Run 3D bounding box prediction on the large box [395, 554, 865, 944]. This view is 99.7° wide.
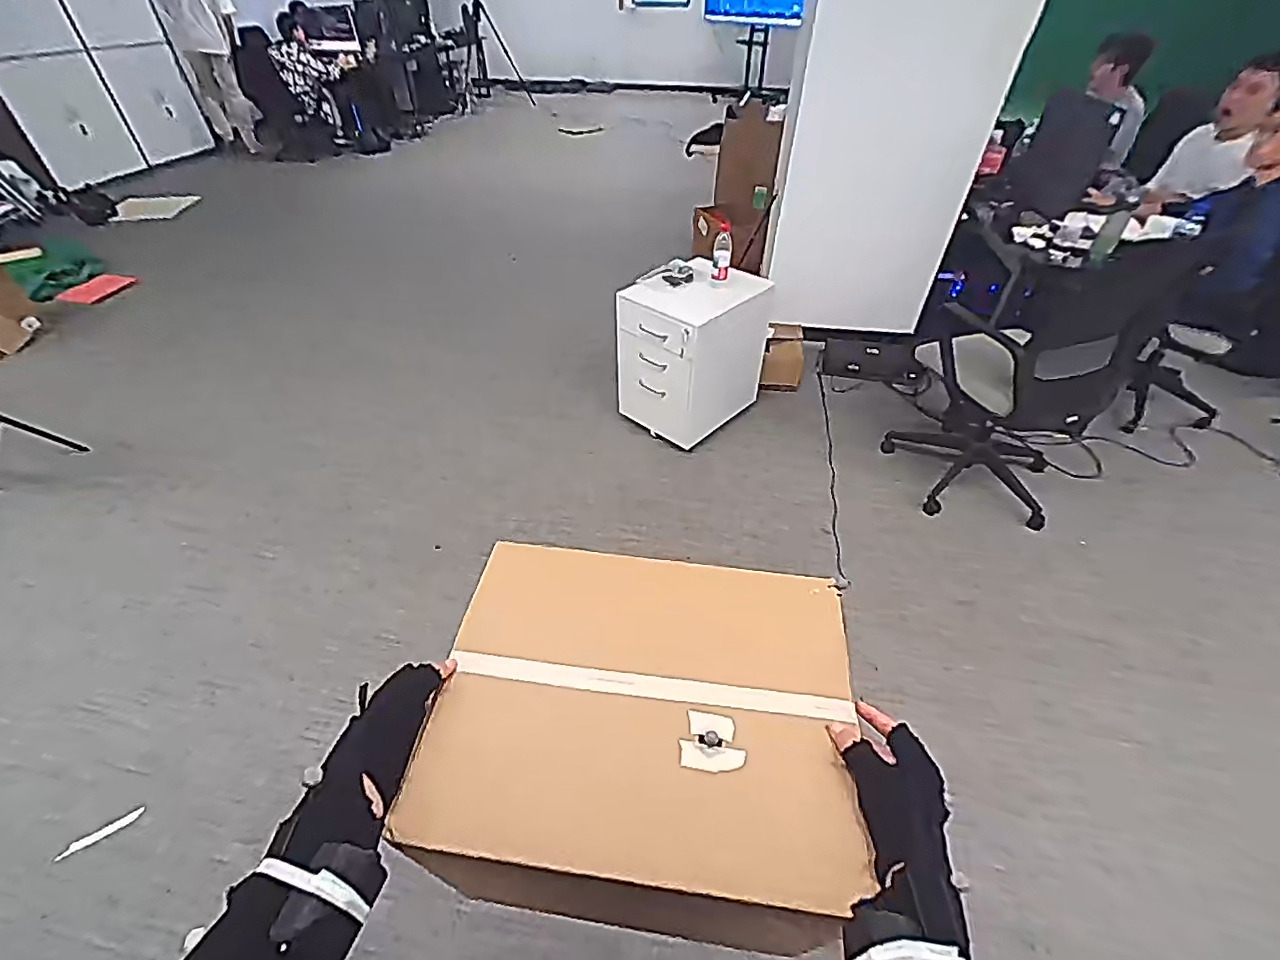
[{"bbox_3d":[-0.001,0.320,0.654,0.408,0.320,0.320,6,46,5],"label":"large box"}]
